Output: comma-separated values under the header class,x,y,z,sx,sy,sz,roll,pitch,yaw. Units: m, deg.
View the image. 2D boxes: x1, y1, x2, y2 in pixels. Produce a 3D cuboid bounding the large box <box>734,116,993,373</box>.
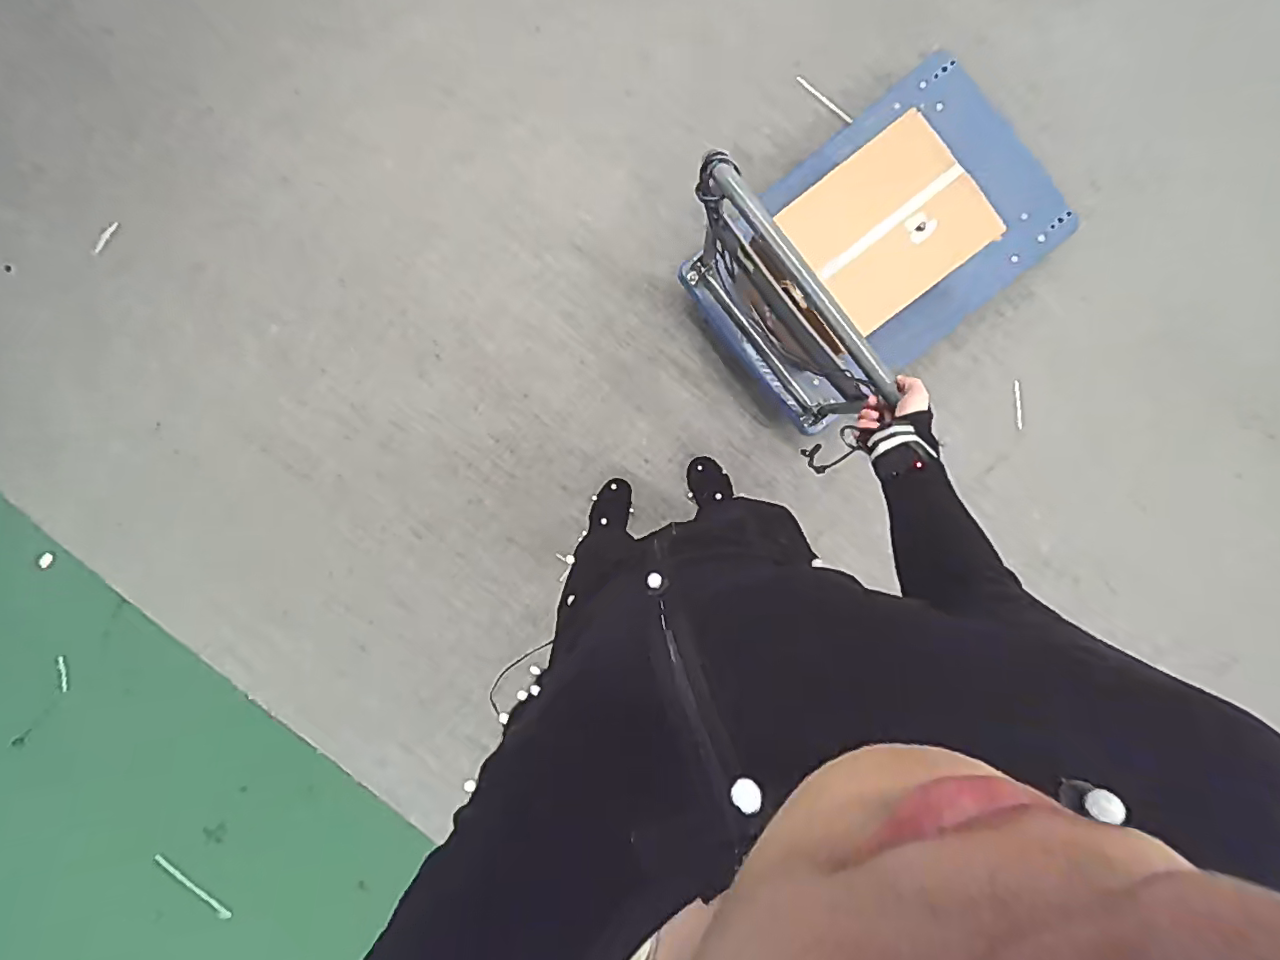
class,x,y,z,sx,sy,sz,roll,pitch,yaw
large box,0.484,-0.510,1.264,0.408,0.320,0.320,-37,91,3
